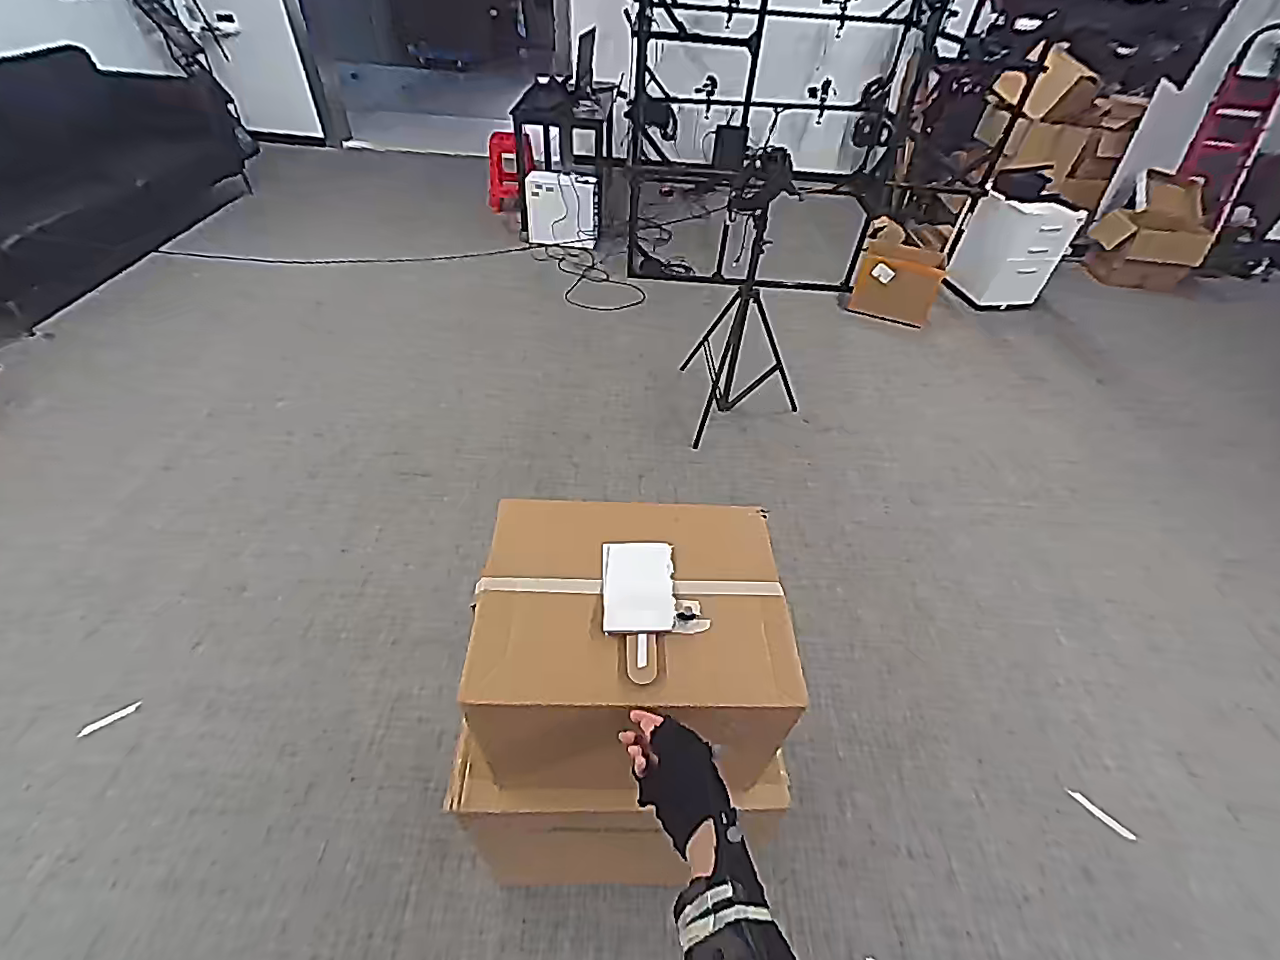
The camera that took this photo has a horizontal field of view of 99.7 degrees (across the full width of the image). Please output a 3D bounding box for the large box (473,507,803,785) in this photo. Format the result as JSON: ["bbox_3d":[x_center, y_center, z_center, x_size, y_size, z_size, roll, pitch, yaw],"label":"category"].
[{"bbox_3d":[-0.015,0.259,0.848,0.408,0.320,0.320,2,45,-4],"label":"large box"}]
